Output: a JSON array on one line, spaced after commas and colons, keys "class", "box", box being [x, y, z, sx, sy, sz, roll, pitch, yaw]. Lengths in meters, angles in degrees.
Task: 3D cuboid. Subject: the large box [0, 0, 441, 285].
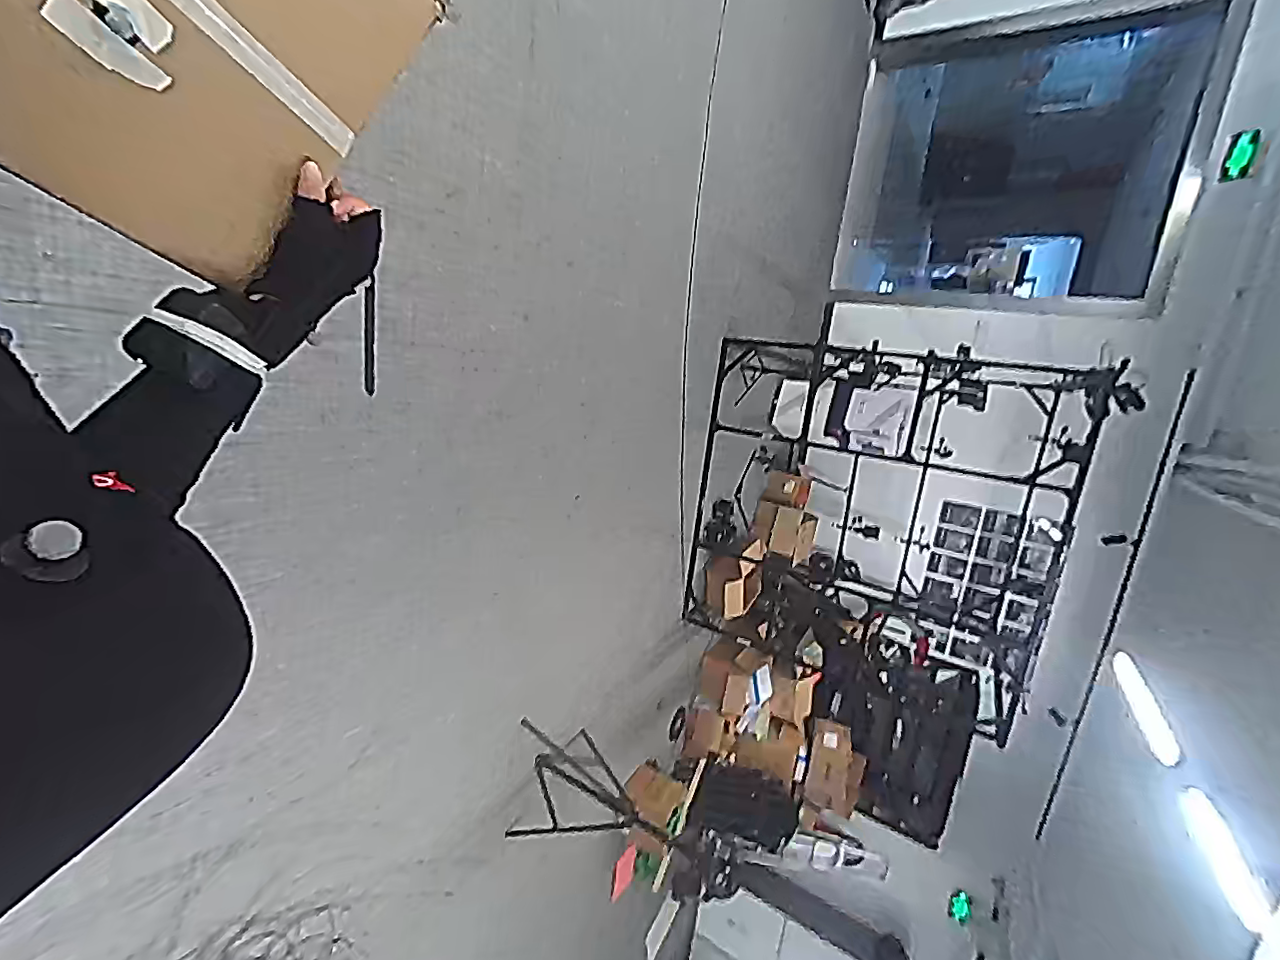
[{"class": "large box", "box": [-0.446, -0.415, 0.375, 0.320, 0.320, 0.408, -57, 149, -1]}]
